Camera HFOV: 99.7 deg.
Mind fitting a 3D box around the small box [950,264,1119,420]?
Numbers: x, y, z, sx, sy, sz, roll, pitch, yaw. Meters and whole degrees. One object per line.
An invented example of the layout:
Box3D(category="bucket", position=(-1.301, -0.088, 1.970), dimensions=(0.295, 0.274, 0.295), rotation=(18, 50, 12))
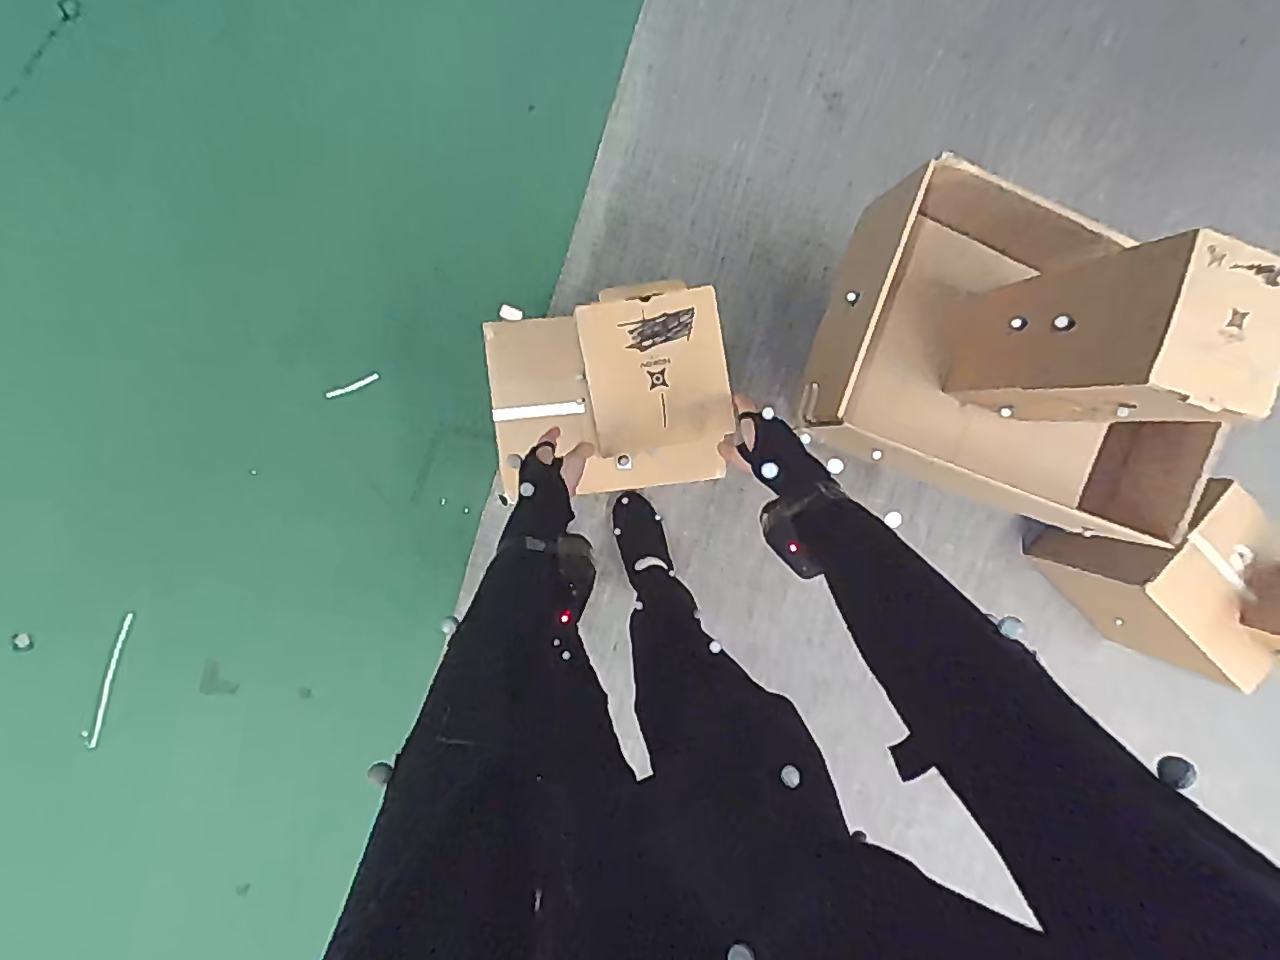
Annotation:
Box3D(category="small box", position=(0.624, -0.201, 0.837), dimensions=(0.168, 0.176, 0.179), rotation=(17, 95, -8))

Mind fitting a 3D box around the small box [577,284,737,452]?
Box3D(category="small box", position=(0.013, -0.136, 0.704), dimensions=(0.168, 0.176, 0.179), rotation=(-11, 97, -6))

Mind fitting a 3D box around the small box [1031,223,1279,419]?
Box3D(category="small box", position=(0.641, -0.182, 0.675), dimensions=(0.168, 0.176, 0.179), rotation=(15, 95, -9))
